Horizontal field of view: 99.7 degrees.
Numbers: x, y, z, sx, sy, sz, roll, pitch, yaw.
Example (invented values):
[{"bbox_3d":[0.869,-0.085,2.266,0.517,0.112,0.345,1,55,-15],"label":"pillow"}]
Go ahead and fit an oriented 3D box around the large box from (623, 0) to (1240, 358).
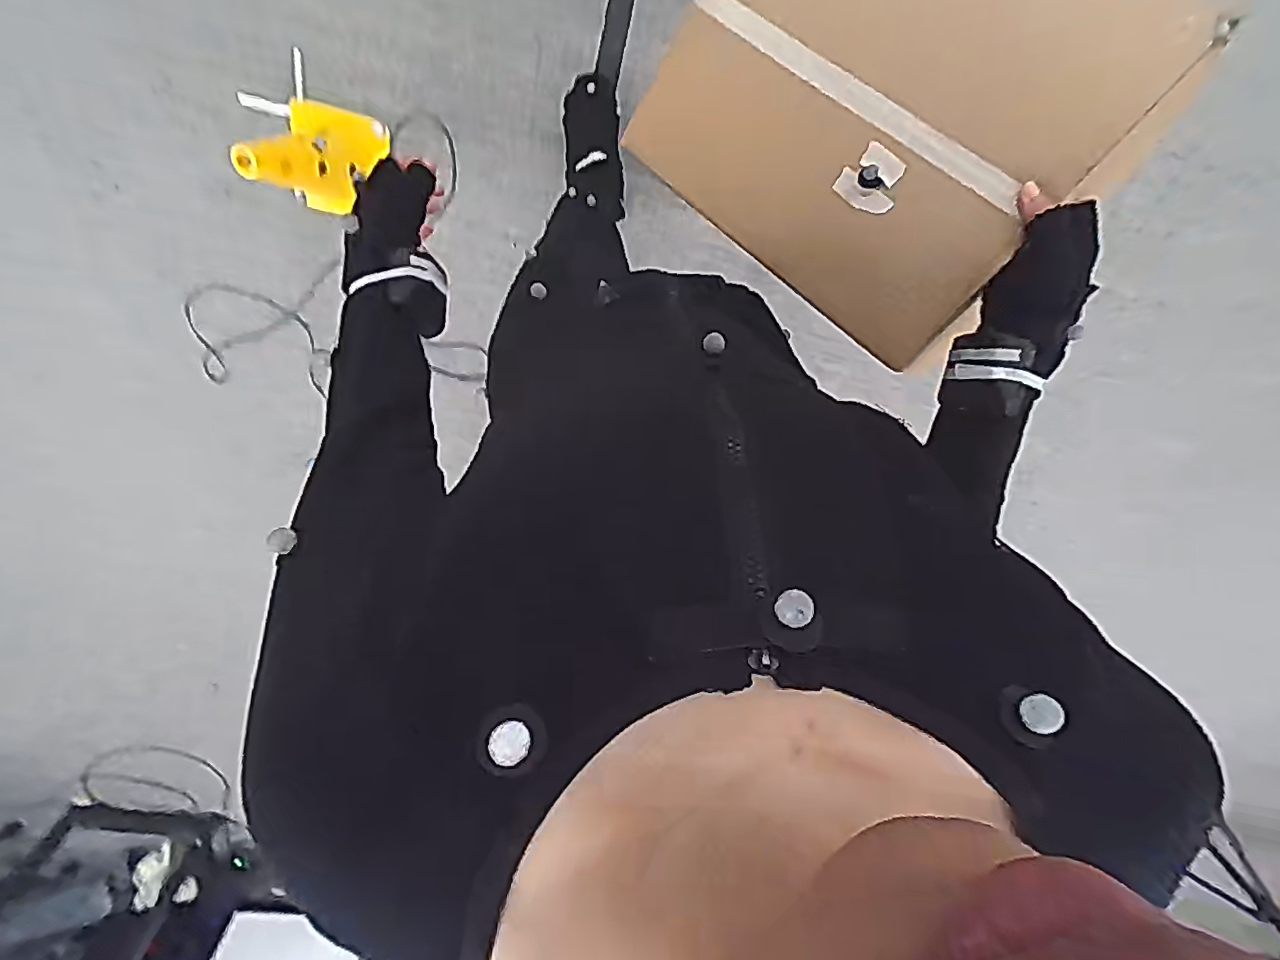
[{"bbox_3d":[0.267,-0.381,0.613,0.408,0.320,0.320,45,120,15],"label":"large box"}]
